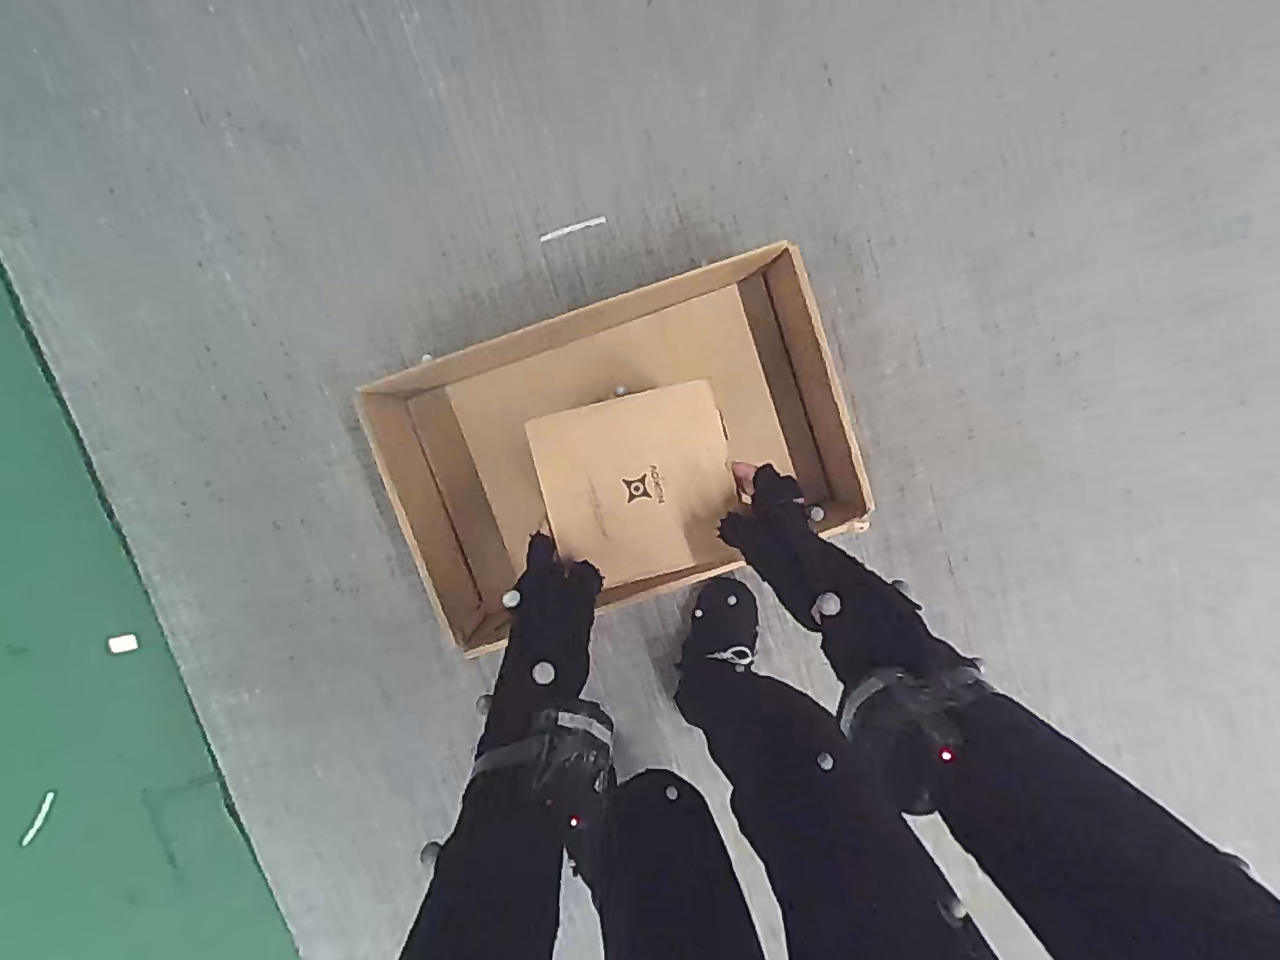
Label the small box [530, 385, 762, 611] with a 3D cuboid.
[{"bbox_3d":[0.000,0.009,0.560,0.179,0.176,0.168,-18,96,-4],"label":"small box"}]

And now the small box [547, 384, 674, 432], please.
[{"bbox_3d":[-0.013,-0.027,0.788,0.179,0.176,0.168,-20,95,2],"label":"small box"}]
